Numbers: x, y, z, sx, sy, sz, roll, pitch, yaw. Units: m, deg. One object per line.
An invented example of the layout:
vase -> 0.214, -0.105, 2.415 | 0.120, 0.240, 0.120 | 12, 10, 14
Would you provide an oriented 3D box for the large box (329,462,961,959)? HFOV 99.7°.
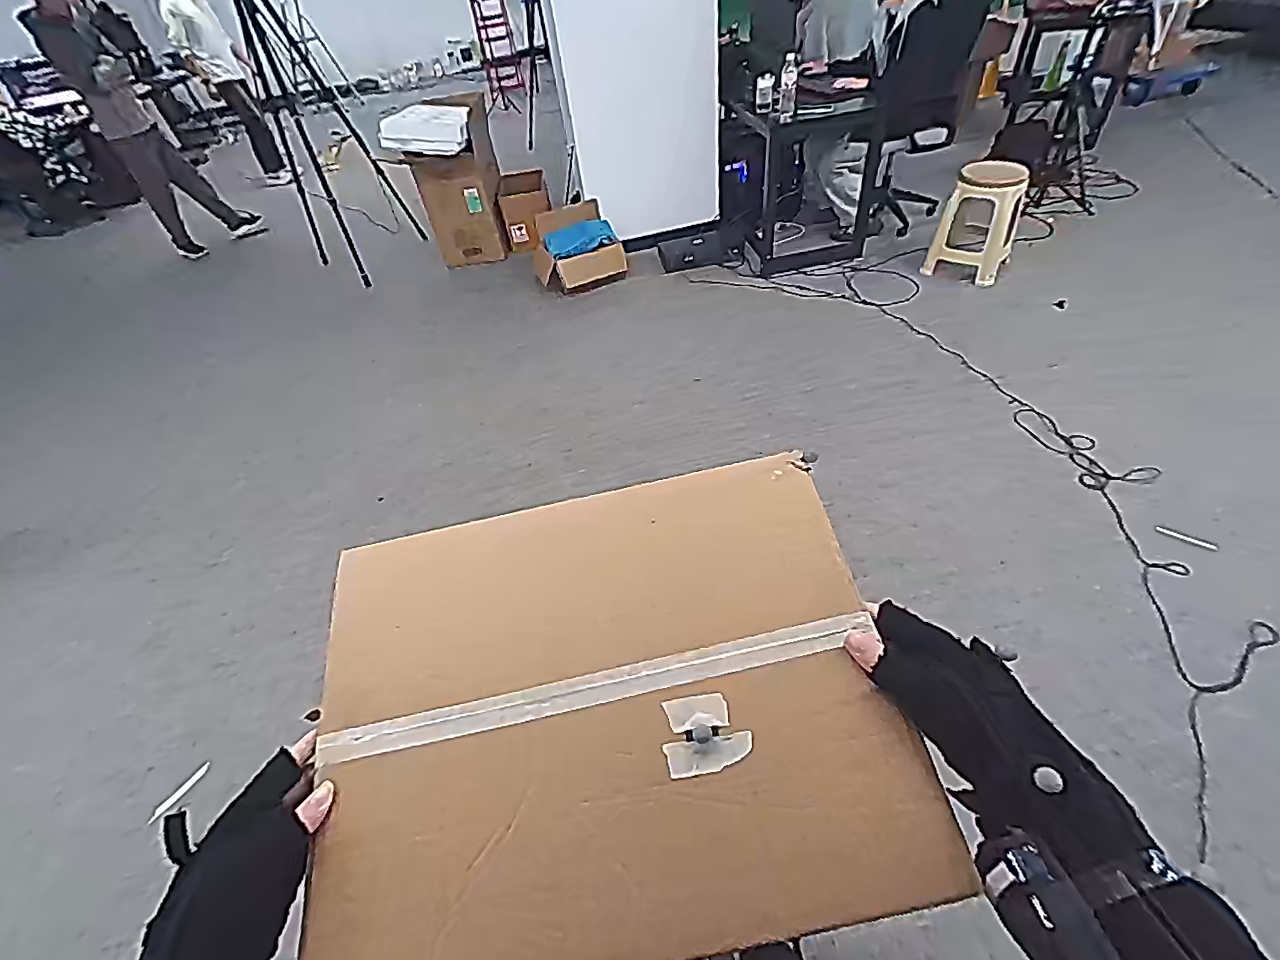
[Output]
large box -> -0.011, 0.231, 0.528 | 0.408, 0.320, 0.320 | -13, 60, -1
